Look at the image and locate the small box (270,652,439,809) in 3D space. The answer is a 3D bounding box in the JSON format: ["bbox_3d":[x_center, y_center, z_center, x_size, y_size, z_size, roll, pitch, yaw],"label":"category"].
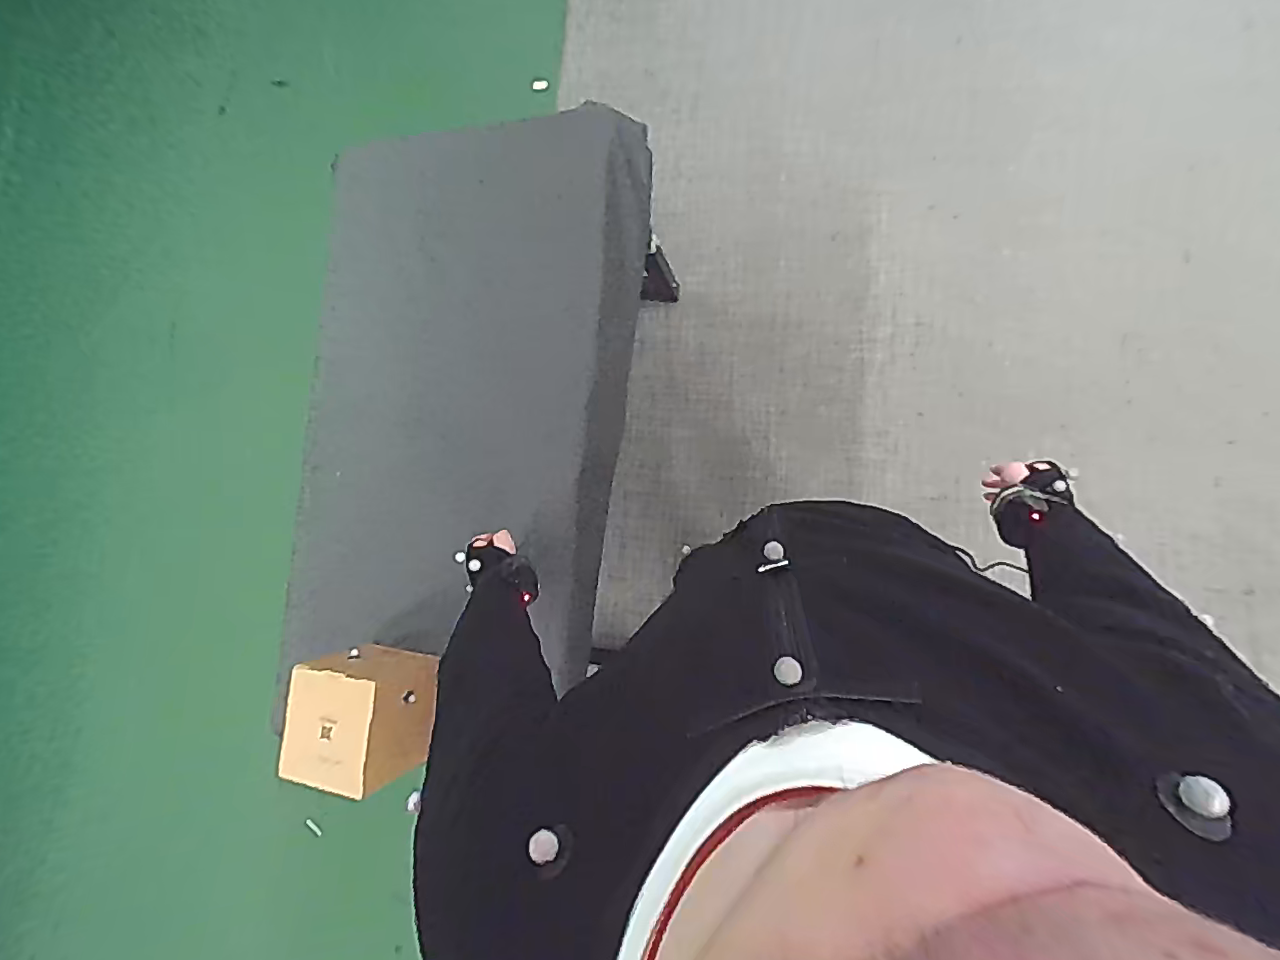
[{"bbox_3d":[-0.459,0.394,0.892,0.168,0.176,0.179,6,85,19],"label":"small box"}]
